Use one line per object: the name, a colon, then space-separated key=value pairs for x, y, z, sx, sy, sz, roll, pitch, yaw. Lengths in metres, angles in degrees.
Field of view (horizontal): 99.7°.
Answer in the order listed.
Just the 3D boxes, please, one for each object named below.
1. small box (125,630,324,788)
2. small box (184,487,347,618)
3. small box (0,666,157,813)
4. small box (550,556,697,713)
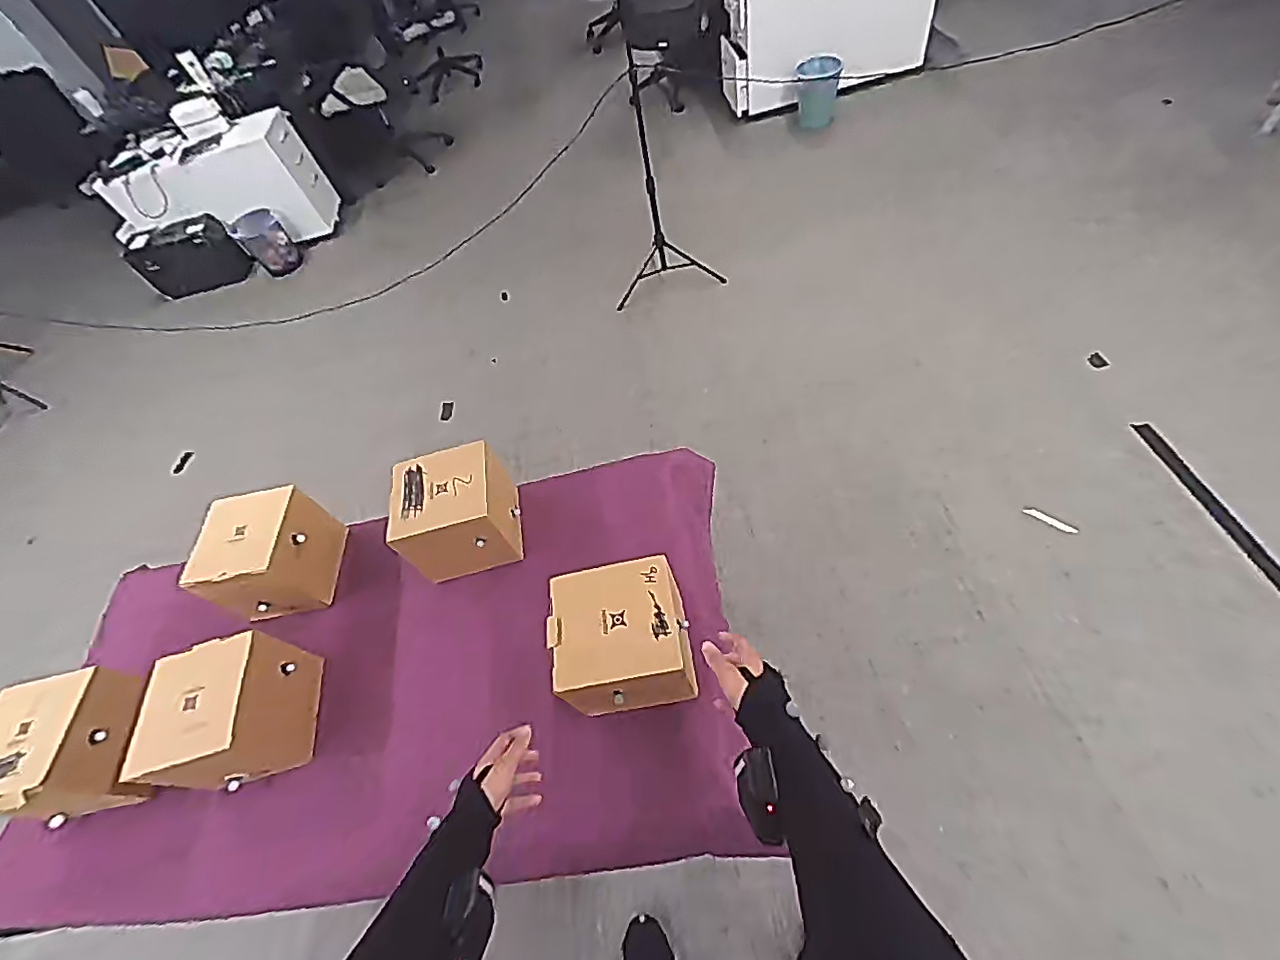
small box: x=-0.638 y=0.368 z=0.860 sx=0.168 sy=0.176 sz=0.179 roll=-17 pitch=54 yaw=2
small box: x=-0.687 y=0.140 z=1.020 sx=0.168 sy=0.176 sz=0.179 roll=-10 pitch=55 yaw=5
small box: x=-0.906 y=0.428 z=0.879 sx=0.168 sy=0.176 sz=0.179 roll=-14 pitch=53 yaw=3
small box: x=-0.022 y=0.235 z=0.802 sx=0.179 sy=0.176 sz=0.168 roll=-13 pitch=55 yaw=6
